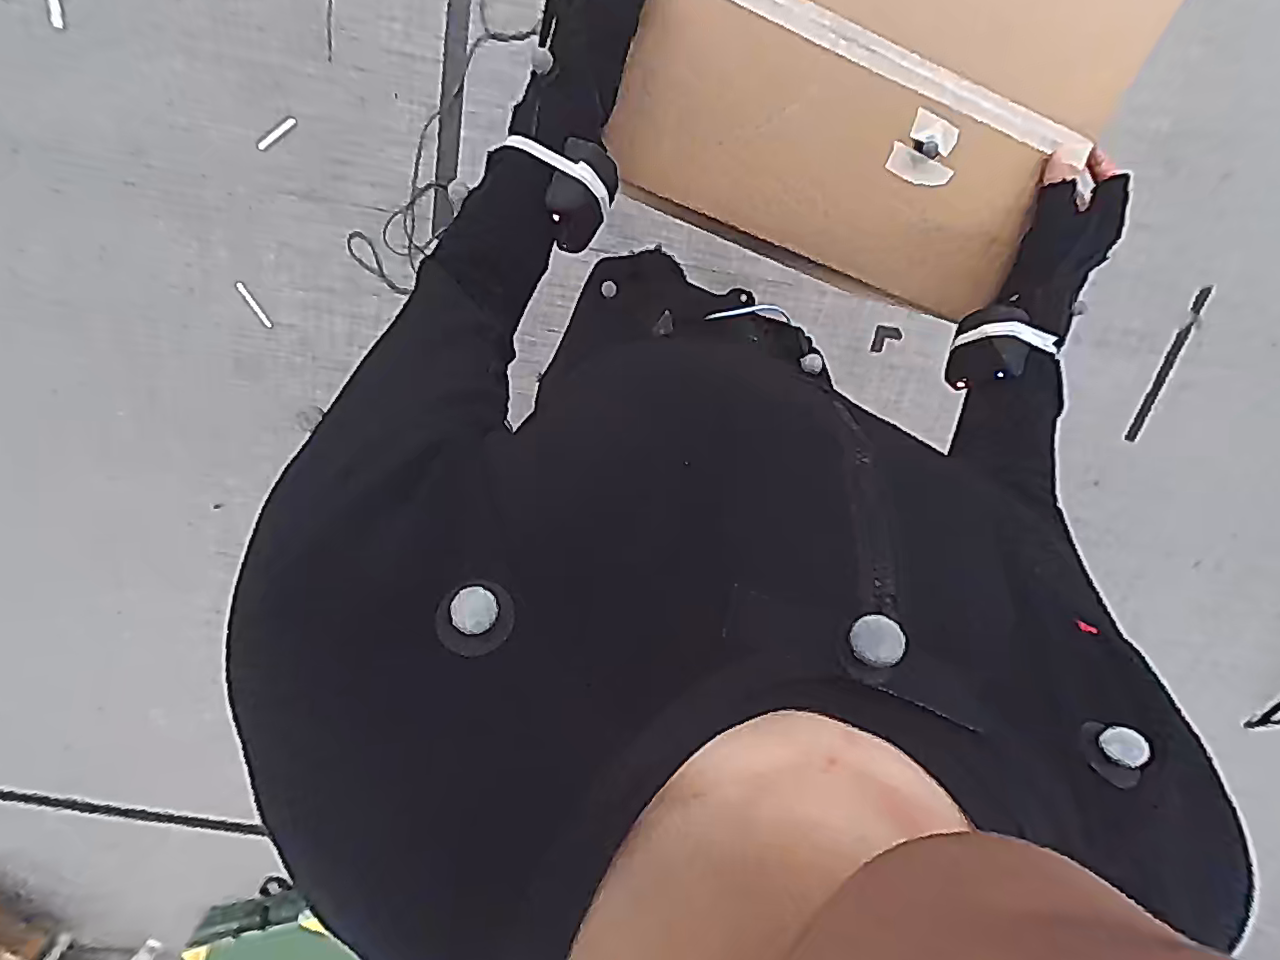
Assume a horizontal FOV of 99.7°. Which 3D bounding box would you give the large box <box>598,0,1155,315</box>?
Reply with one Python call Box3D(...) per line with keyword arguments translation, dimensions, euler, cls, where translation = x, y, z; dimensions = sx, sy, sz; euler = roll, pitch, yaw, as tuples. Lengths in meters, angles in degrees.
Box3D(translation=(0.191, -0.417, 0.589), dimensions=(0.408, 0.320, 0.320), euler=(18, 115, -10), cls="large box")
